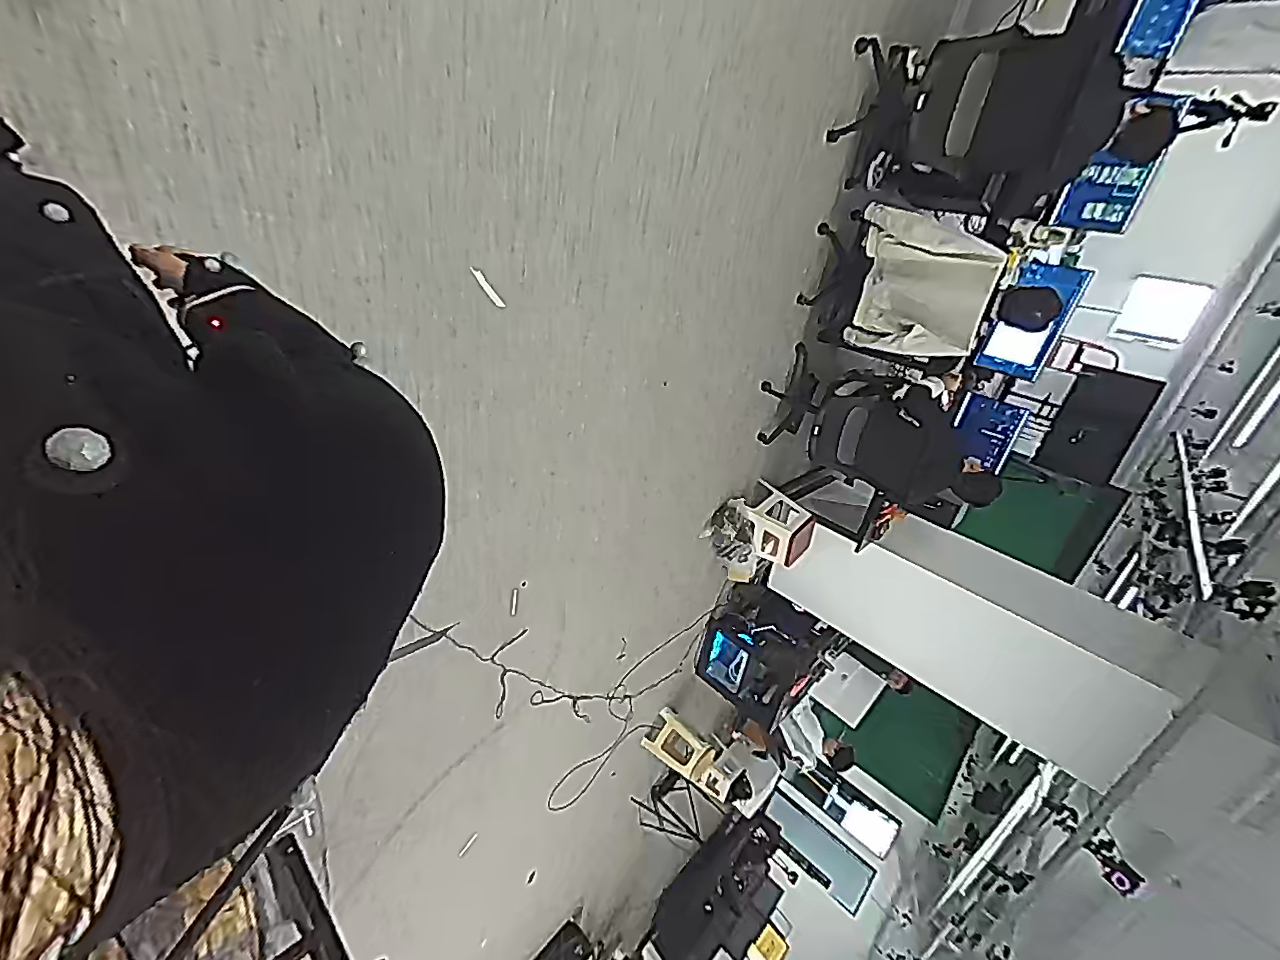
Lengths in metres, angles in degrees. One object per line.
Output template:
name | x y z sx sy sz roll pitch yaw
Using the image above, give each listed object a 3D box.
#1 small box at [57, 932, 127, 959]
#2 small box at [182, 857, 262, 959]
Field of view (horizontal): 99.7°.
small box | -1.575 1.452 1.536 0.168 0.176 0.179 -19 128 -45
small box | -1.364 1.389 1.765 0.168 0.176 0.179 -17 128 -45
